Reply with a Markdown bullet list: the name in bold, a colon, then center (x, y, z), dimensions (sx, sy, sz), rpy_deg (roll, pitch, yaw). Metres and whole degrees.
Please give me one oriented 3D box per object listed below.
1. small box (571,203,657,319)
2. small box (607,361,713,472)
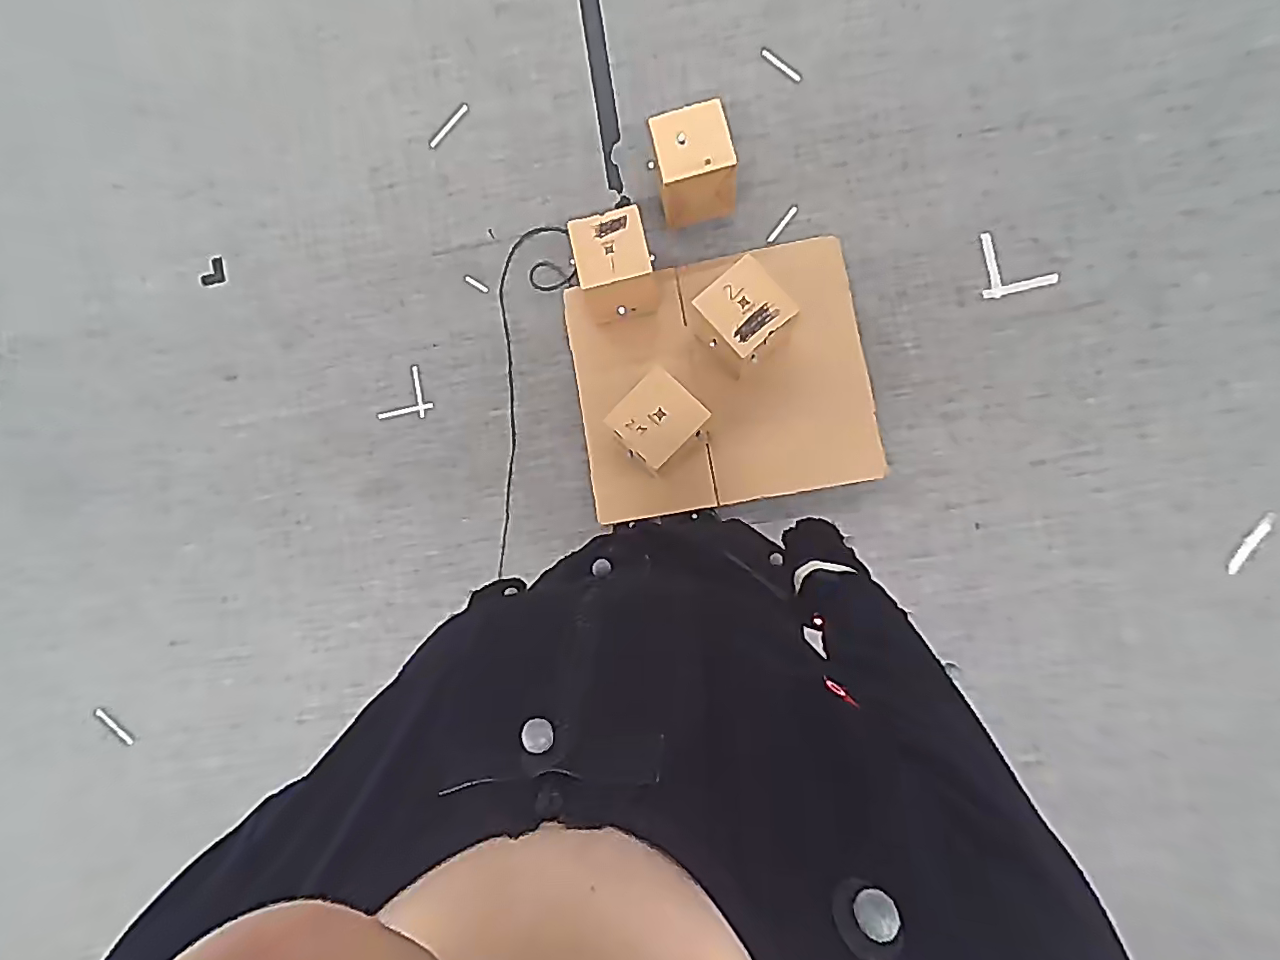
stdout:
- **small box**: center (-0.057, -0.514, 1.288), dimensions (0.168, 0.176, 0.179), rpy_deg (-13, 80, 3)
- **small box**: center (0.046, -0.138, 1.250), dimensions (0.179, 0.176, 0.168), rpy_deg (-45, 83, 0)
